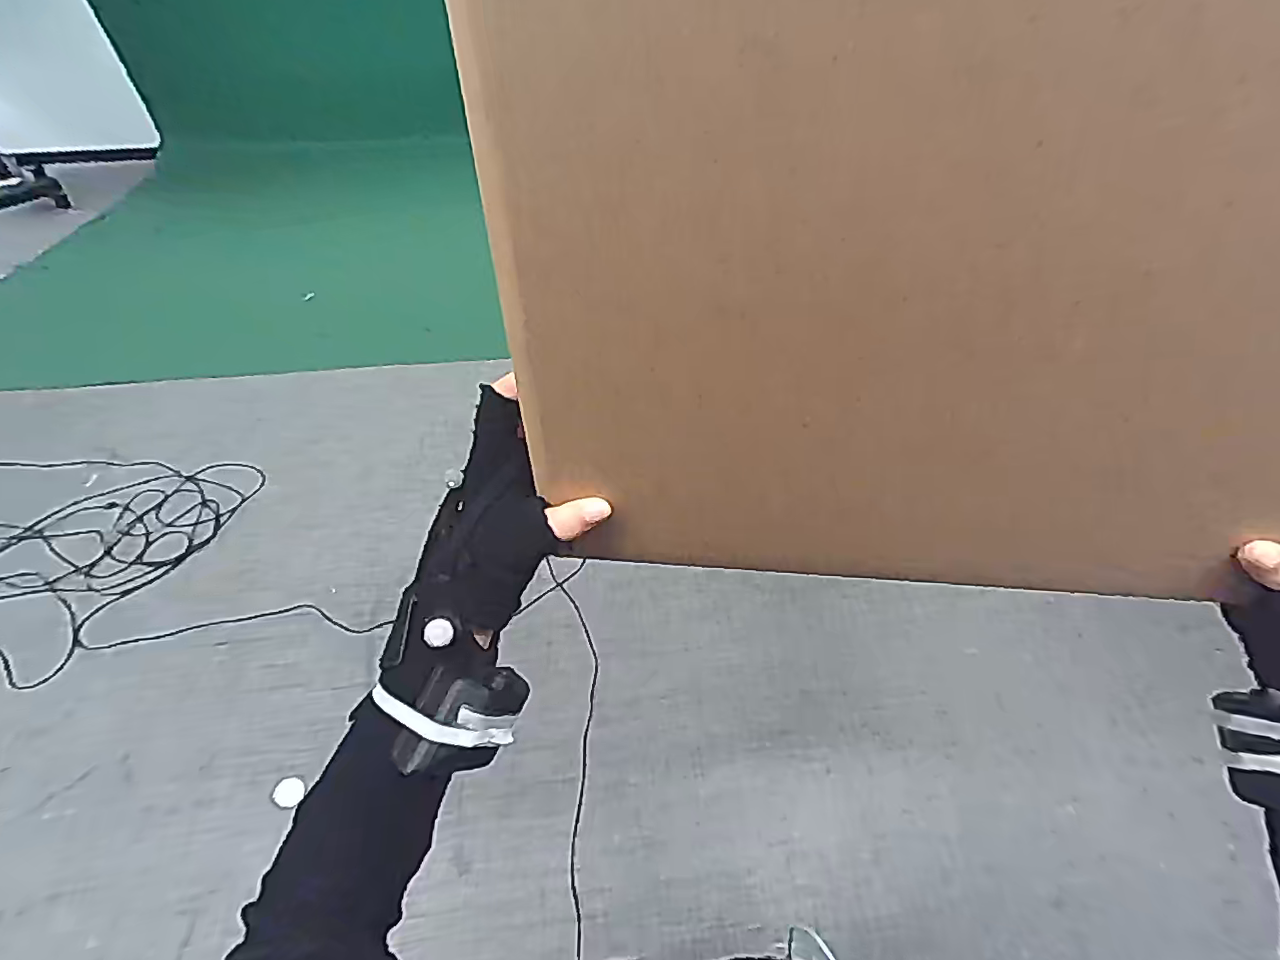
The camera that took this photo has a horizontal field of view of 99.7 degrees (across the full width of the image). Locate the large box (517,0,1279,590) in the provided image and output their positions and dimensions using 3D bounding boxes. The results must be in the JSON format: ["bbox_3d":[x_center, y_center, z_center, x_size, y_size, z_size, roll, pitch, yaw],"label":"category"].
[{"bbox_3d":[0.164,-0.153,0.318,0.408,0.320,0.320,4,46,1],"label":"large box"}]
